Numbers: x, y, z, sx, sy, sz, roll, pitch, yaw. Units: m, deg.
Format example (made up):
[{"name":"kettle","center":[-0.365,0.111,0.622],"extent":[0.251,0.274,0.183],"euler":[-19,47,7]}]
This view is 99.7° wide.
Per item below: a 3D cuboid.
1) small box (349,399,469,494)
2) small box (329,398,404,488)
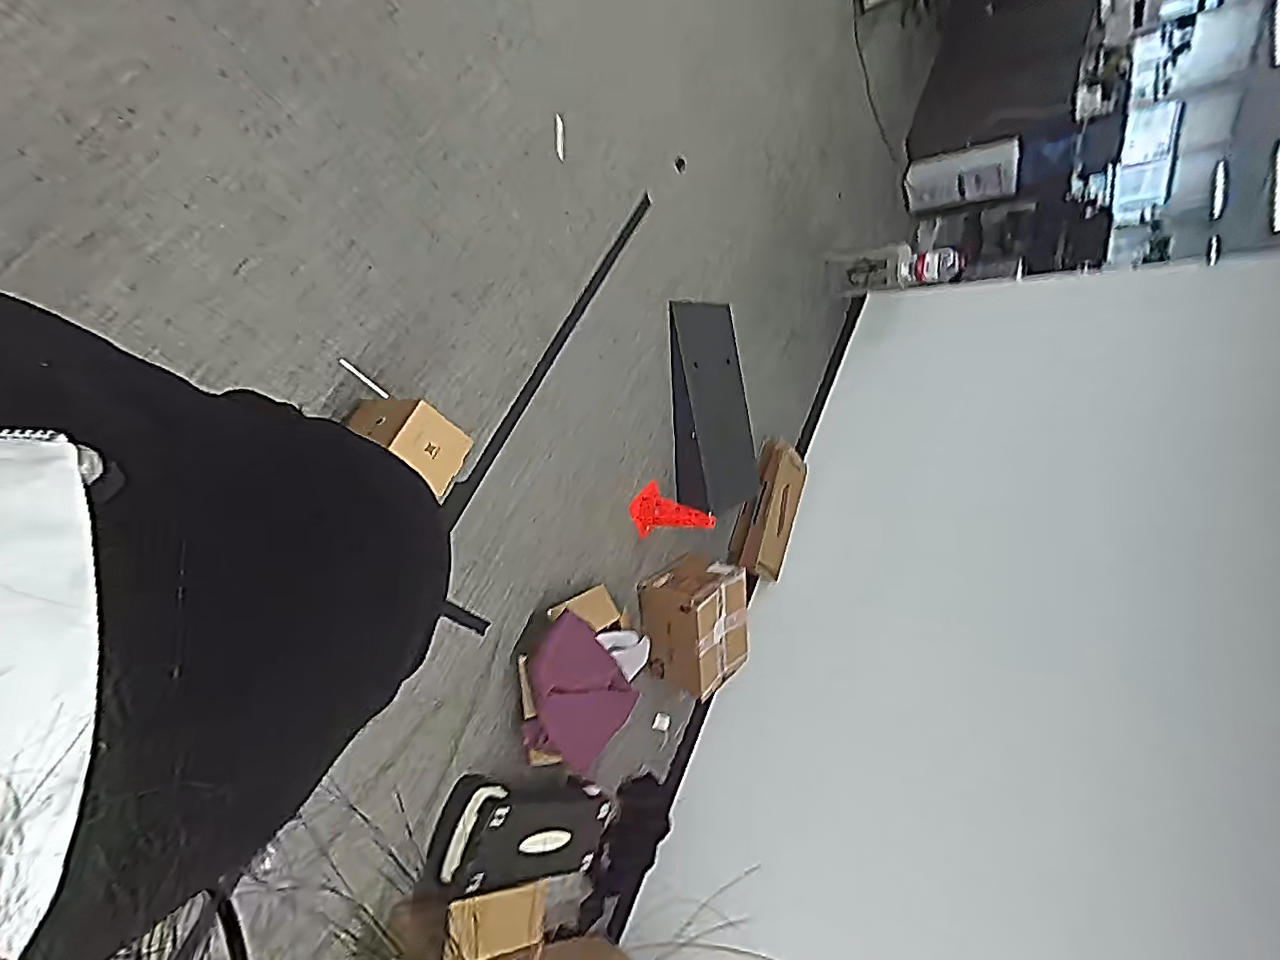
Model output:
[{"name":"small box","center":[-0.566,-0.086,1.328],"extent":[0.179,0.176,0.168],"euler":[45,61,-43]},{"name":"small box","center":[-0.689,-0.101,1.434],"extent":[0.168,0.176,0.179],"euler":[45,63,-45]}]
